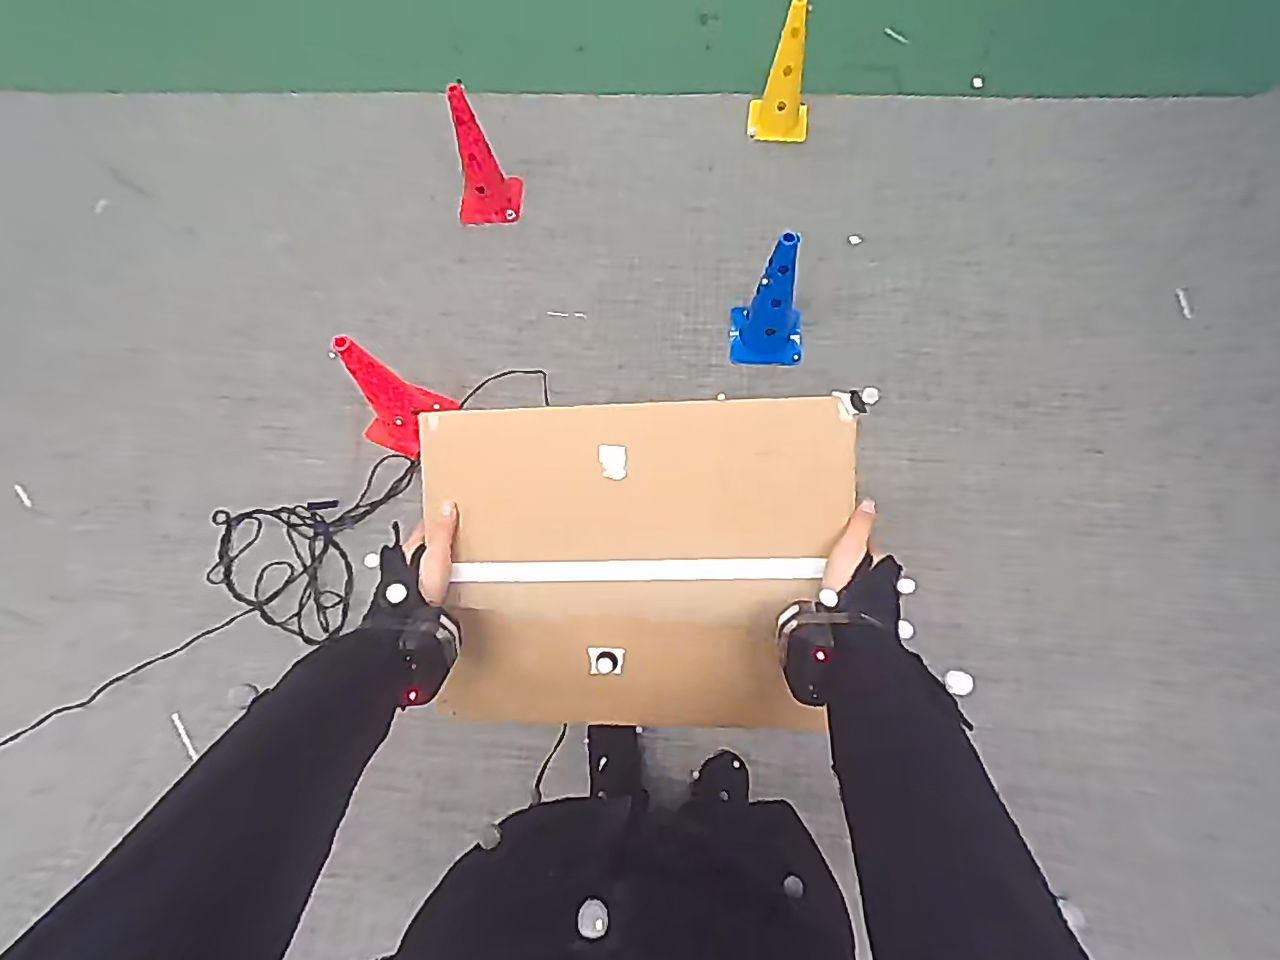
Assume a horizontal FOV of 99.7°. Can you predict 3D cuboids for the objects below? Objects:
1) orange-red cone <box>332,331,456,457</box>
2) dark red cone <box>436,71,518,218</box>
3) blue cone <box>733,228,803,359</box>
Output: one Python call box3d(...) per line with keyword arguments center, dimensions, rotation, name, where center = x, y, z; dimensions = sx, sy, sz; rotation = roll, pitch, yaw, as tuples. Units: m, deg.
box3d(center=(-0.644, -0.238, 1.338), dimensions=(0.199, 0.360, 0.198), rotation=(22, 69, 14), name="orange-red cone")
box3d(center=(-0.514, -1.010, 1.632), dimensions=(0.202, 0.394, 0.201), rotation=(-4, 64, 2), name="dark red cone")
box3d(center=(0.352, -0.487, 1.394), dimensions=(0.192, 0.380, 0.193), rotation=(4, 68, 5), name="blue cone")
